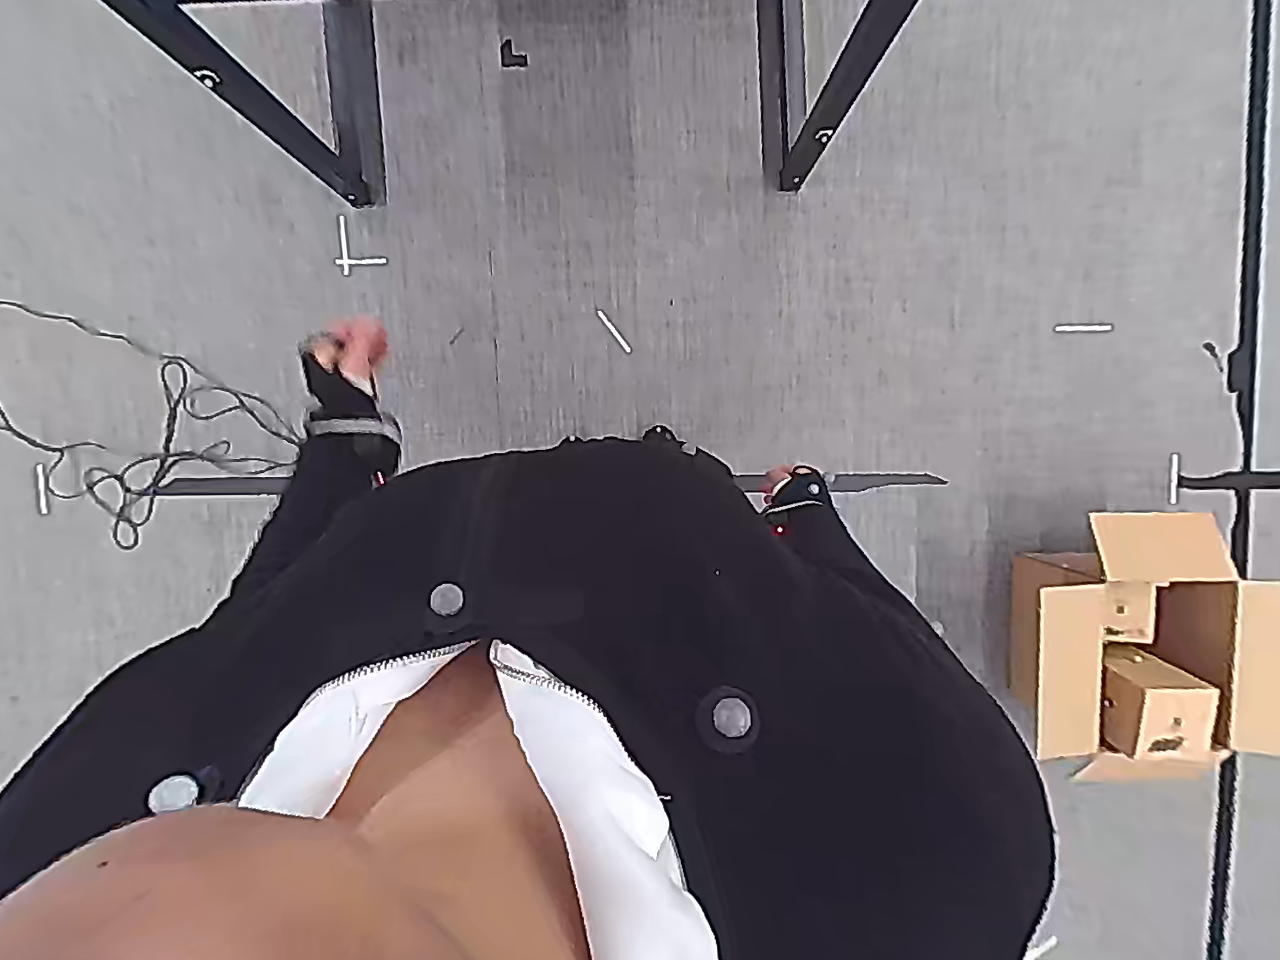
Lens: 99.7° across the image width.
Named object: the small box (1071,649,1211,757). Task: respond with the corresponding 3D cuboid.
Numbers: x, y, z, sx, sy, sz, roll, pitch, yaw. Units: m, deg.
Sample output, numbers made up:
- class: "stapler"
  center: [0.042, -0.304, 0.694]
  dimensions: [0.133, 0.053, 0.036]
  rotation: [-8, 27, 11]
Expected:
- class: "small box"
  center: [1.167, 0.520, 1.275]
  dimensions: [0.168, 0.176, 0.179]
  rotation: [1, 98, -1]
